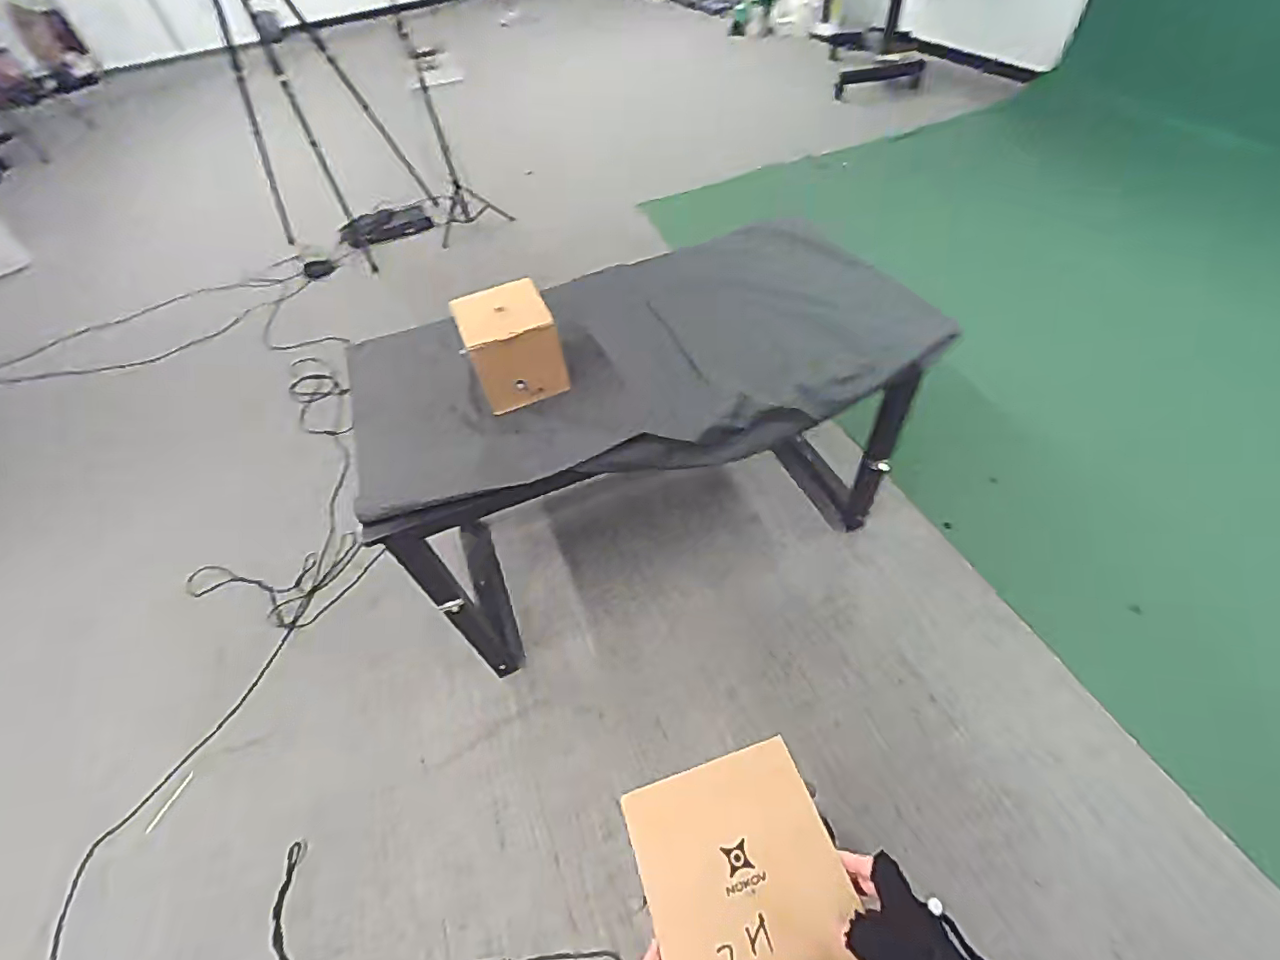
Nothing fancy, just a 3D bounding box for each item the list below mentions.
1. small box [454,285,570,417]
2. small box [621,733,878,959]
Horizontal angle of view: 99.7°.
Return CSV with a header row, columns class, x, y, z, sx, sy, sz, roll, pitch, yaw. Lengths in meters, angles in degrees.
class,x,y,z,sx,sy,sz,roll,pitch,yaw
small box,-0.254,-0.257,1.087,0.168,0.176,0.179,-21,52,-11
small box,0.088,0.380,0.516,0.168,0.176,0.179,-17,47,-8
